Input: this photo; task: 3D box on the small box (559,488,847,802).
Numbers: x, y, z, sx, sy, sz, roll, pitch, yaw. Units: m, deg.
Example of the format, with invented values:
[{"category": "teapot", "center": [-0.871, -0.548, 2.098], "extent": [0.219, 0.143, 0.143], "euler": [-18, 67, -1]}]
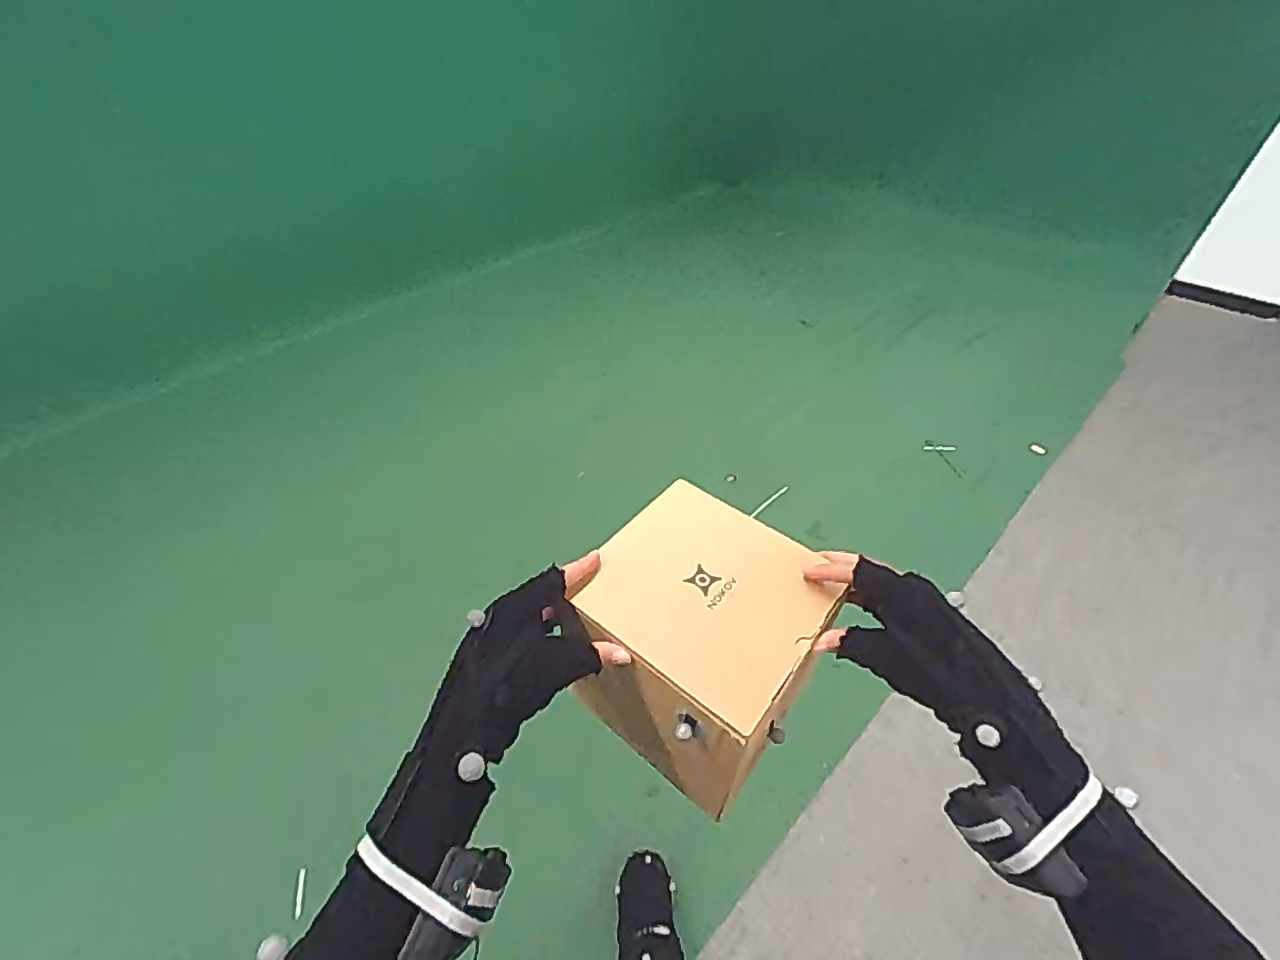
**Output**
[{"category": "small box", "center": [0.049, 0.145, 0.485], "extent": [0.179, 0.176, 0.168], "euler": [30, 50, 27]}]
